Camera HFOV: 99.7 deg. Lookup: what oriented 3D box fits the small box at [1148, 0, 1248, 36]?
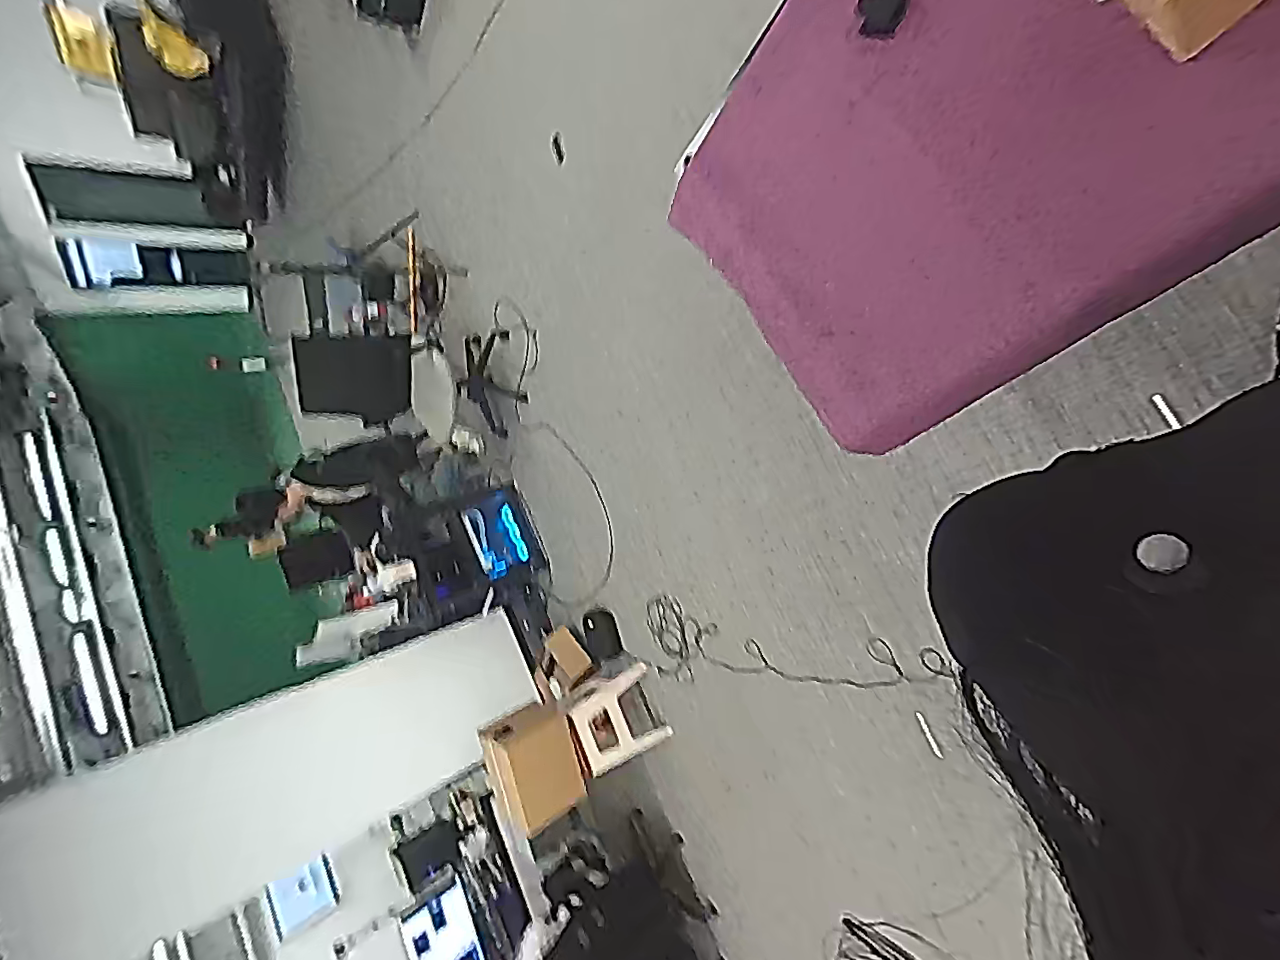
[{"bbox_3d":[0.471,-0.501,0.419,0.179,0.176,0.168,-43,69,49],"label":"small box"}]
